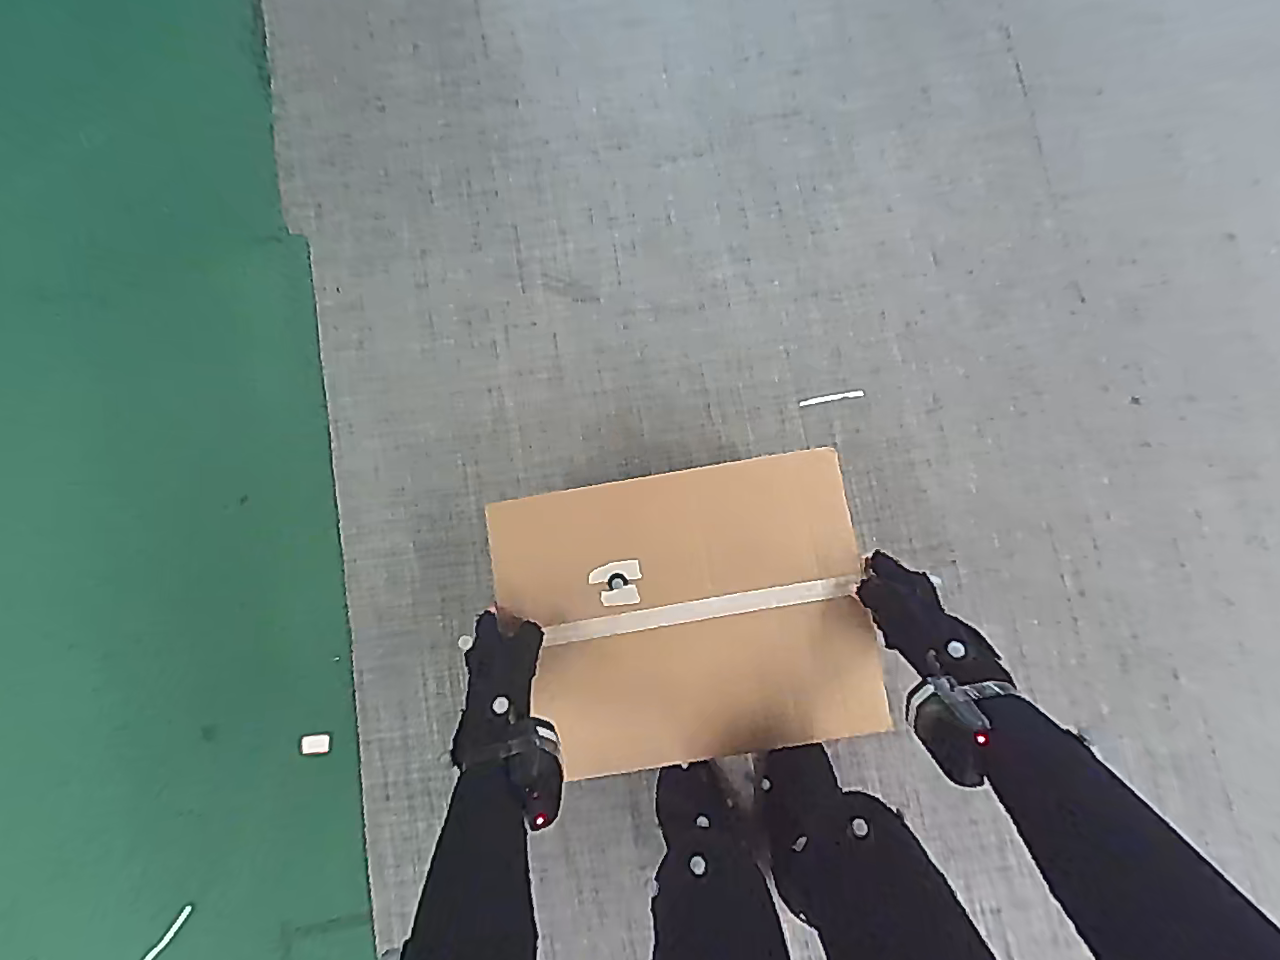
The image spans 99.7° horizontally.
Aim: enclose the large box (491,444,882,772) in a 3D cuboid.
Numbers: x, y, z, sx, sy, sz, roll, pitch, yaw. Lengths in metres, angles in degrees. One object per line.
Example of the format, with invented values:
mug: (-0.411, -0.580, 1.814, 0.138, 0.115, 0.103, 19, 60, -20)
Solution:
large box: (0.054, 0.154, 0.754, 0.408, 0.320, 0.320, -9, 84, 2)
